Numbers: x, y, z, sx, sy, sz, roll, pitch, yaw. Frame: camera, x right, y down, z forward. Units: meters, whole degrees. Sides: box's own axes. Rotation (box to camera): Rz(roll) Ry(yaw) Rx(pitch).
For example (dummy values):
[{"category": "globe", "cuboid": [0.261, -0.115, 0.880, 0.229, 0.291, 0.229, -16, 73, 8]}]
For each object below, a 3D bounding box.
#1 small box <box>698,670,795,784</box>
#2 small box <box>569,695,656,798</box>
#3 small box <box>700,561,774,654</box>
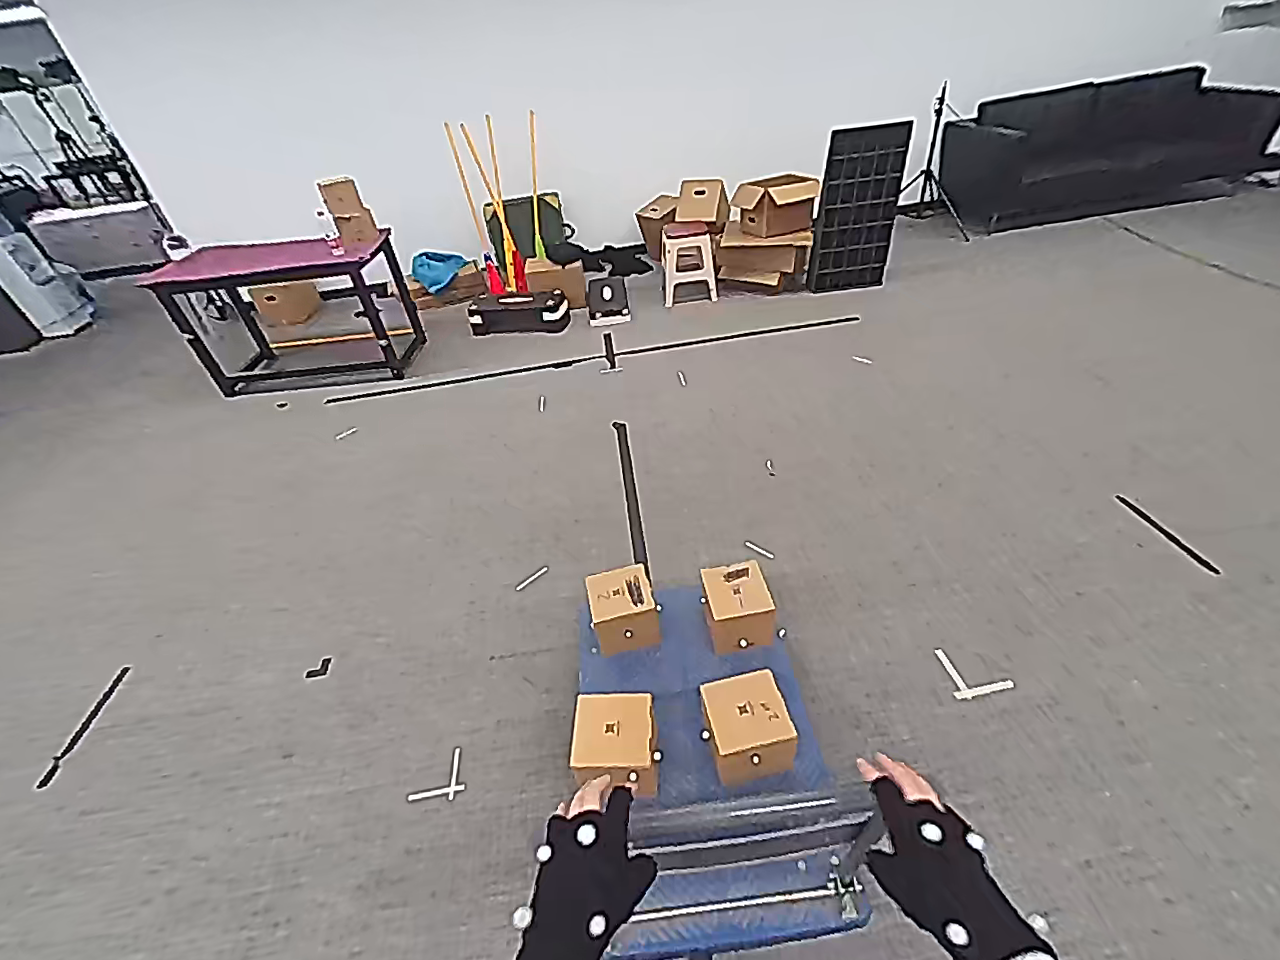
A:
[{"category": "small box", "cuboid": [0.244, 0.576, 1.256, 0.179, 0.176, 0.168, -12, 40, -4]}, {"category": "small box", "cuboid": [-0.057, 0.620, 1.254, 0.179, 0.176, 0.168, -3, 39, 4]}, {"category": "small box", "cuboid": [0.266, 0.357, 1.515, 0.168, 0.176, 0.179, -10, 40, -2]}]
